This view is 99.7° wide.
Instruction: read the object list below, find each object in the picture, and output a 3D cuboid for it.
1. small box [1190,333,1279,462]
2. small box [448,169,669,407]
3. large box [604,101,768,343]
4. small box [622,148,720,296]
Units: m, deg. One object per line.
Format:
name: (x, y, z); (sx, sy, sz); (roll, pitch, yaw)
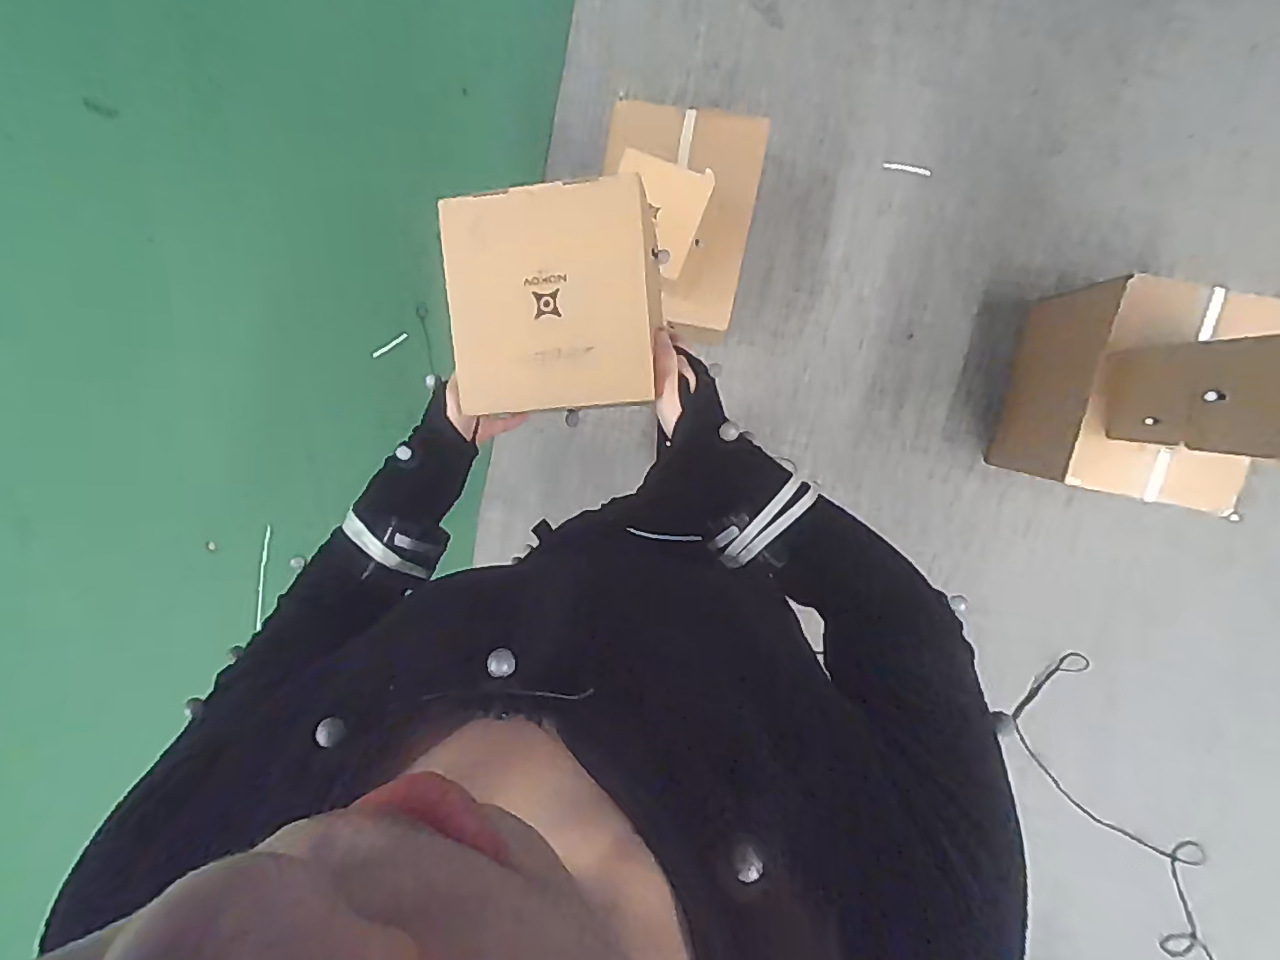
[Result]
small box: (0.962, -0.118, 0.779); (0.168, 0.176, 0.179); (4, 100, 8)
small box: (-0.062, -0.162, 0.517); (0.168, 0.176, 0.179); (-3, 98, 8)
large box: (0.086, -0.551, 1.232); (0.320, 0.320, 0.408); (12, 99, 5)
small box: (0.037, -0.465, 1.002); (0.168, 0.176, 0.179); (23, 102, 5)
